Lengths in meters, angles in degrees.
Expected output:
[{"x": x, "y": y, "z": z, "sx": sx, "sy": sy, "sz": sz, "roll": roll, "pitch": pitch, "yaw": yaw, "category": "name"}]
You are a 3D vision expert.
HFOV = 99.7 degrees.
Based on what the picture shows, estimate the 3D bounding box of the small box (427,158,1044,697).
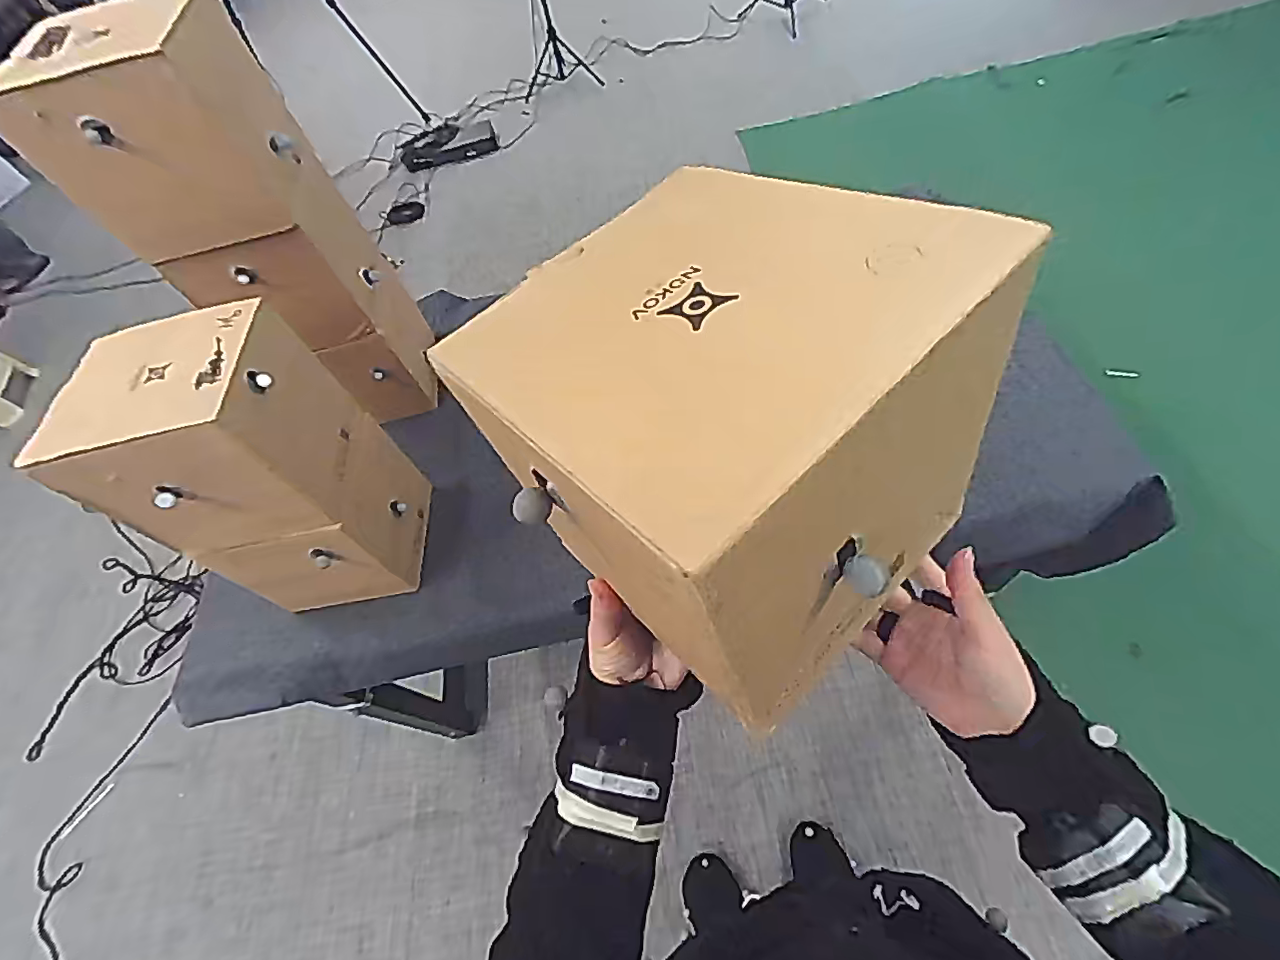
[{"x": 0.041, "y": -0.021, "z": 0.265, "sx": 0.168, "sy": 0.176, "sz": 0.179, "roll": -43, "pitch": 51, "yaw": -14, "category": "small box"}]

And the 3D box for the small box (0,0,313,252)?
[{"x": -0.481, "y": -0.364, "z": 0.555, "sx": 0.179, "sy": 0.176, "sz": 0.168, "roll": -13, "pitch": 60, "yaw": 1, "category": "small box"}]

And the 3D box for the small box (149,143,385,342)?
[{"x": -0.461, "y": -0.290, "z": 0.700, "sx": 0.179, "sy": 0.176, "sz": 0.168, "roll": -15, "pitch": 60, "yaw": 0, "category": "small box"}]

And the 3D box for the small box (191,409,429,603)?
[{"x": -0.387, "y": 0.039, "z": 0.676, "sx": 0.179, "sy": 0.176, "sz": 0.168, "roll": -10, "pitch": 55, "yaw": 4, "category": "small box"}]

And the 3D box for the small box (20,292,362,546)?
[{"x": -0.418, "y": -0.051, "z": 0.543, "sx": 0.179, "sy": 0.176, "sz": 0.168, "roll": -14, "pitch": 56, "yaw": 3, "category": "small box"}]
